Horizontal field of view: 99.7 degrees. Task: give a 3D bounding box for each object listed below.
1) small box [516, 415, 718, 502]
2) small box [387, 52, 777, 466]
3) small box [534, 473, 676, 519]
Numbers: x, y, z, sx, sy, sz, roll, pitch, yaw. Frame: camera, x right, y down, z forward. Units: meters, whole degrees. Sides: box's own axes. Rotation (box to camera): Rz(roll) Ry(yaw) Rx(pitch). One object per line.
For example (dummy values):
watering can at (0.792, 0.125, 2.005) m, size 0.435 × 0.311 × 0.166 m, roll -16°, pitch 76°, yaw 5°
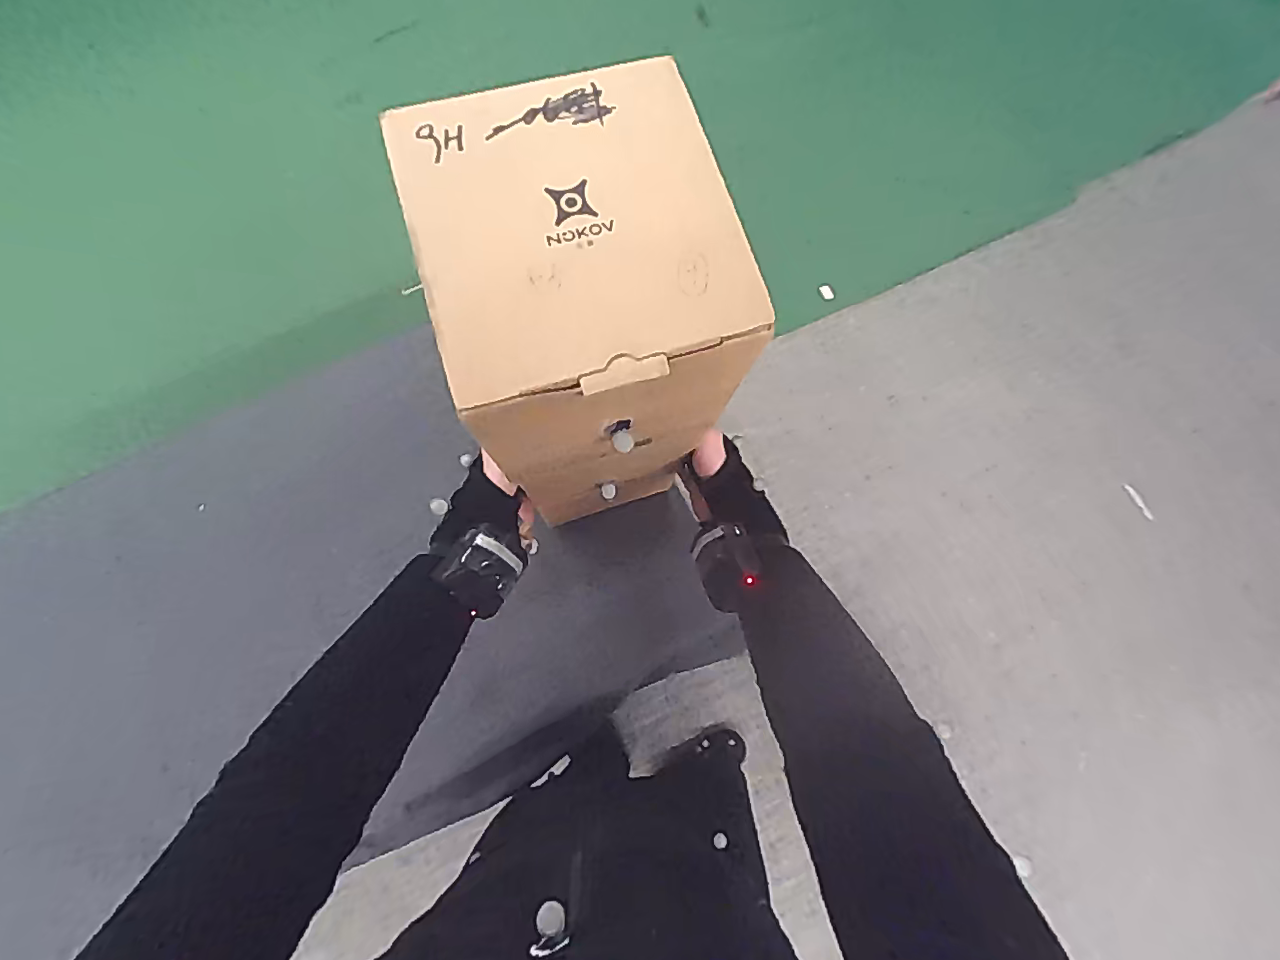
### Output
small box at (-0.041, -0.090, 0.514) m, size 0.168 × 0.176 × 0.179 m, roll -14°, pitch 80°, yaw -6°
small box at (-0.034, -0.116, 0.353) m, size 0.168 × 0.176 × 0.179 m, roll -16°, pitch 80°, yaw -6°
small box at (-0.053, -0.058, 0.675) m, size 0.179 × 0.176 × 0.168 m, roll -17°, pitch 80°, yaw -8°
